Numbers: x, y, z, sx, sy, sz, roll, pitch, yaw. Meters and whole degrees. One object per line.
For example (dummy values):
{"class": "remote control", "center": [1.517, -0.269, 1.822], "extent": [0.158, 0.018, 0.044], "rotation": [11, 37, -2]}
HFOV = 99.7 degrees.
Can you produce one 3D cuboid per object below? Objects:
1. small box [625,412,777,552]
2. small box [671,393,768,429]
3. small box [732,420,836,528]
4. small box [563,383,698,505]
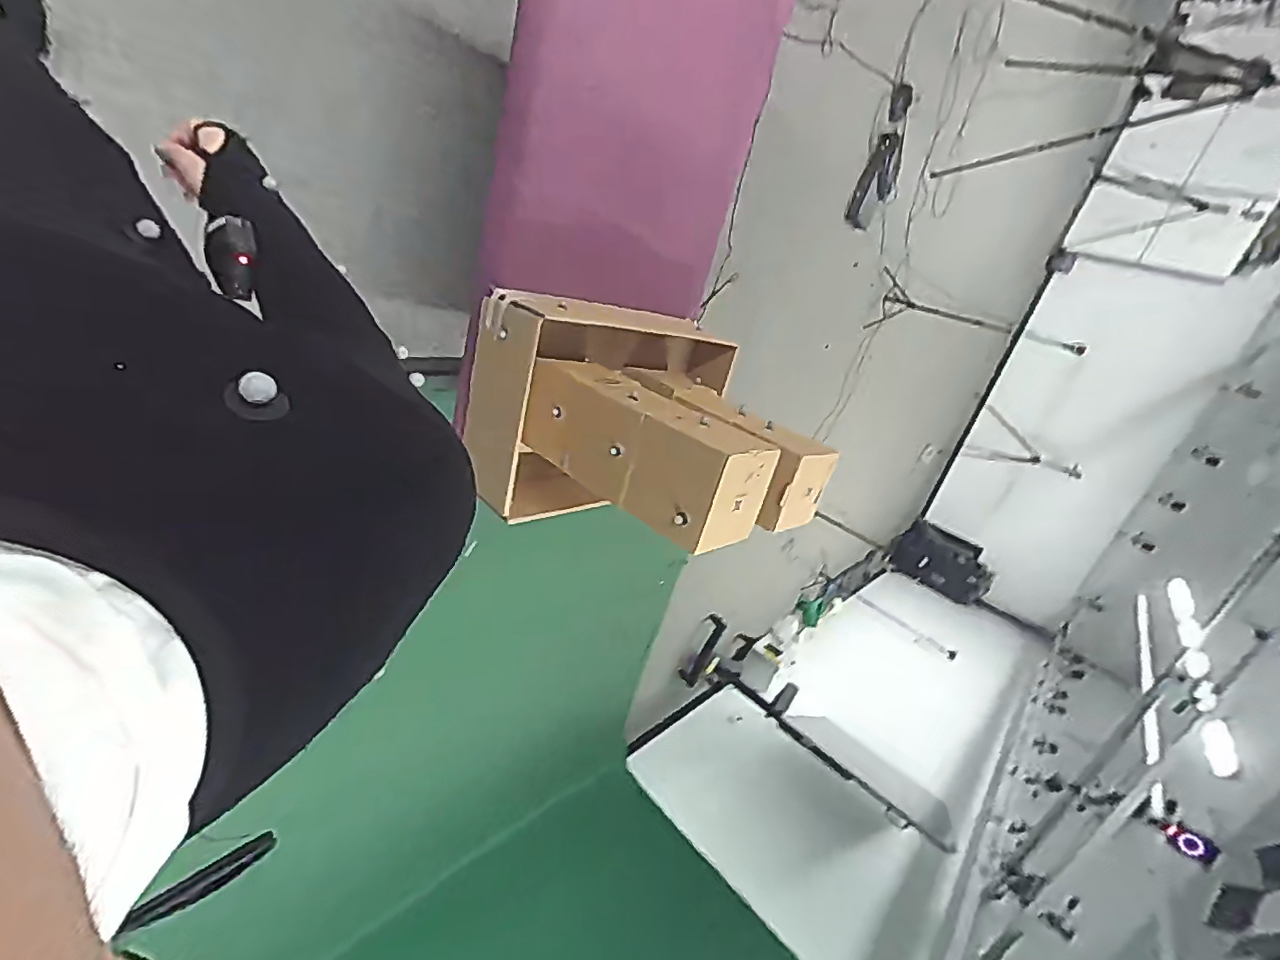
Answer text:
{"class": "small box", "center": [0.097, -0.004, 0.919], "extent": [0.168, 0.176, 0.179], "rotation": [-8, 121, -49]}
{"class": "small box", "center": [0.152, -0.091, 1.213], "extent": [0.179, 0.176, 0.168], "rotation": [-7, 121, -48]}
{"class": "small box", "center": [0.267, -0.020, 1.120], "extent": [0.179, 0.176, 0.168], "rotation": [-7, 121, -47]}
{"class": "small box", "center": [-0.022, -0.073, 1.010], "extent": [0.168, 0.176, 0.179], "rotation": [-7, 120, -49]}
